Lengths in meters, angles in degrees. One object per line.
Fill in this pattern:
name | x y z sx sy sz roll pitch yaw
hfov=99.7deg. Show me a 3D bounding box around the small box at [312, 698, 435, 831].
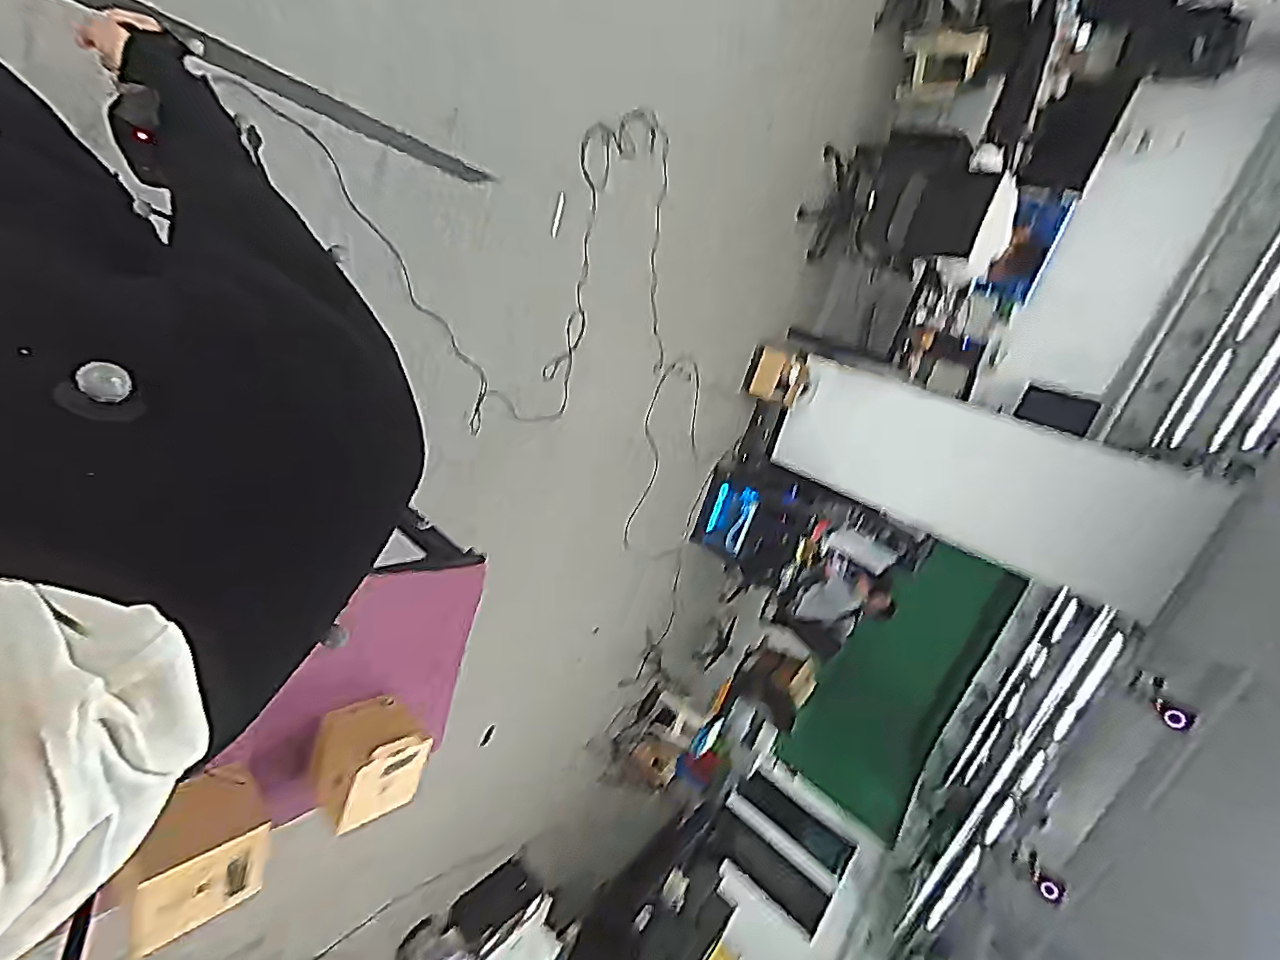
small box | -0.588 0.606 1.186 0.168 0.176 0.179 3 111 -55
